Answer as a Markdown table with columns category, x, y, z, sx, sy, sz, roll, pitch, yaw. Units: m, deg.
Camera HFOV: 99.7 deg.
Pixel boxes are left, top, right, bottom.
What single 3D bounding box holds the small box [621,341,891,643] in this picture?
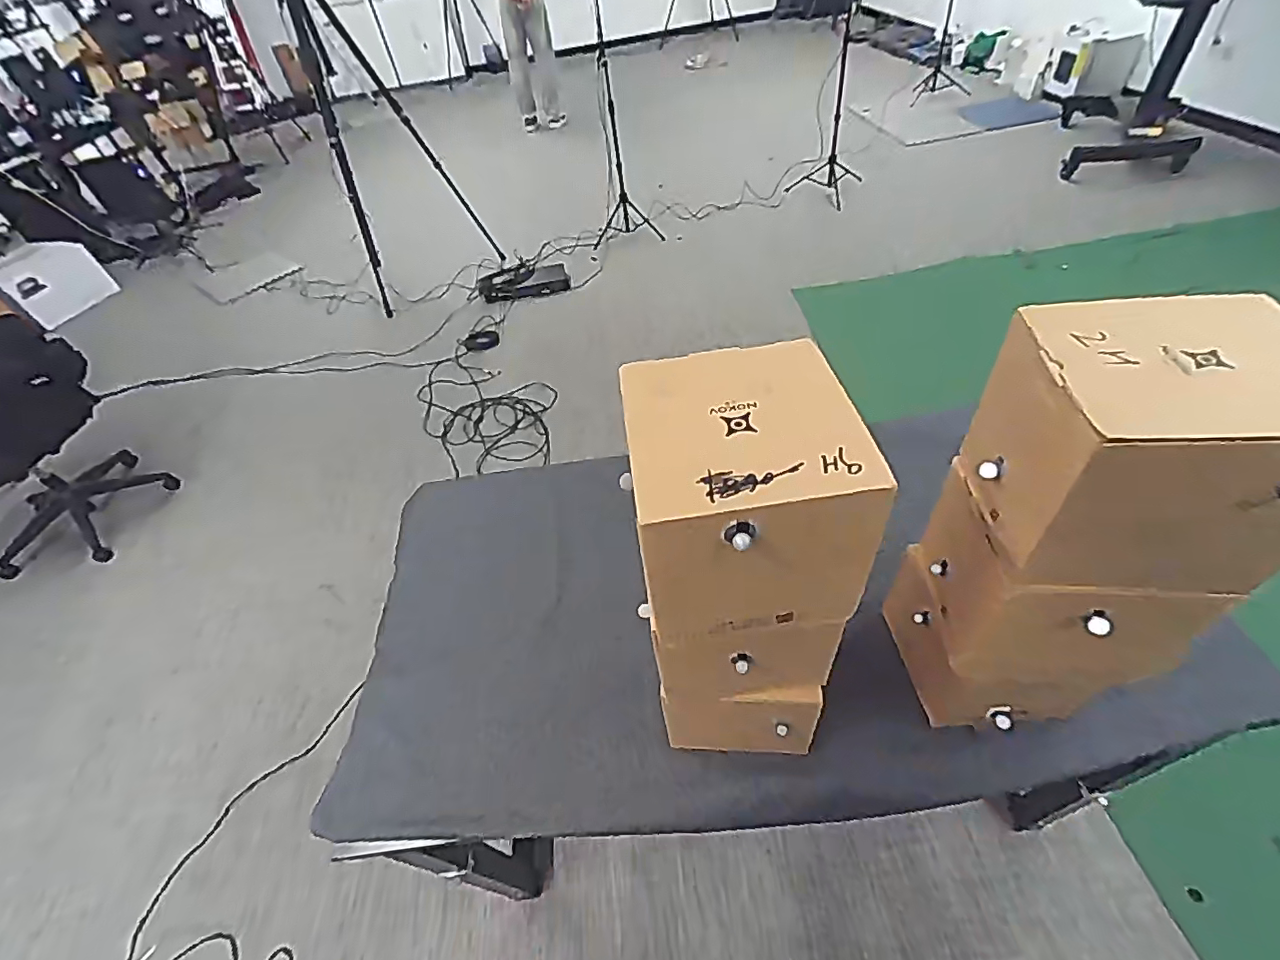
| category | x | y | z | sx | sy | sz | roll | pitch | yaw |
| --- | --- | --- | --- | --- | --- | --- | --- | --- | --- |
| small box | 0.078 | 0.010 | 0.451 | 0.168 | 0.176 | 0.179 | -8 | 46 | 2 |

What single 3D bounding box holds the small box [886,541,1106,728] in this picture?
| category | x | y | z | sx | sy | sz | roll | pitch | yaw |
| --- | --- | --- | --- | --- | --- | --- | --- | --- | --- |
| small box | 0.432 | 0.186 | 0.678 | 0.168 | 0.176 | 0.179 | -9 | 47 | 3 |

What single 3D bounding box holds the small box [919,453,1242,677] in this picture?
| category | x | y | z | sx | sy | sz | roll | pitch | yaw |
| --- | --- | --- | --- | --- | --- | --- | --- | --- | --- |
| small box | 0.412 | 0.087 | 0.551 | 0.179 | 0.176 | 0.168 | -1 | 47 | 11 |

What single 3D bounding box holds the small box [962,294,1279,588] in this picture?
| category | x | y | z | sx | sy | sz | roll | pitch | yaw |
| --- | --- | --- | --- | --- | --- | --- | --- | --- | --- |
| small box | 0.392 | -0.027 | 0.433 | 0.179 | 0.176 | 0.168 | 0 | 47 | 12 |

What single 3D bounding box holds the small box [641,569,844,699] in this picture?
| category | x | y | z | sx | sy | sz | roll | pitch | yaw |
| --- | --- | --- | --- | --- | --- | --- | --- | --- | --- |
| small box | 0.096 | 0.115 | 0.577 | 0.179 | 0.176 | 0.168 | -8 | 46 | 3 |
